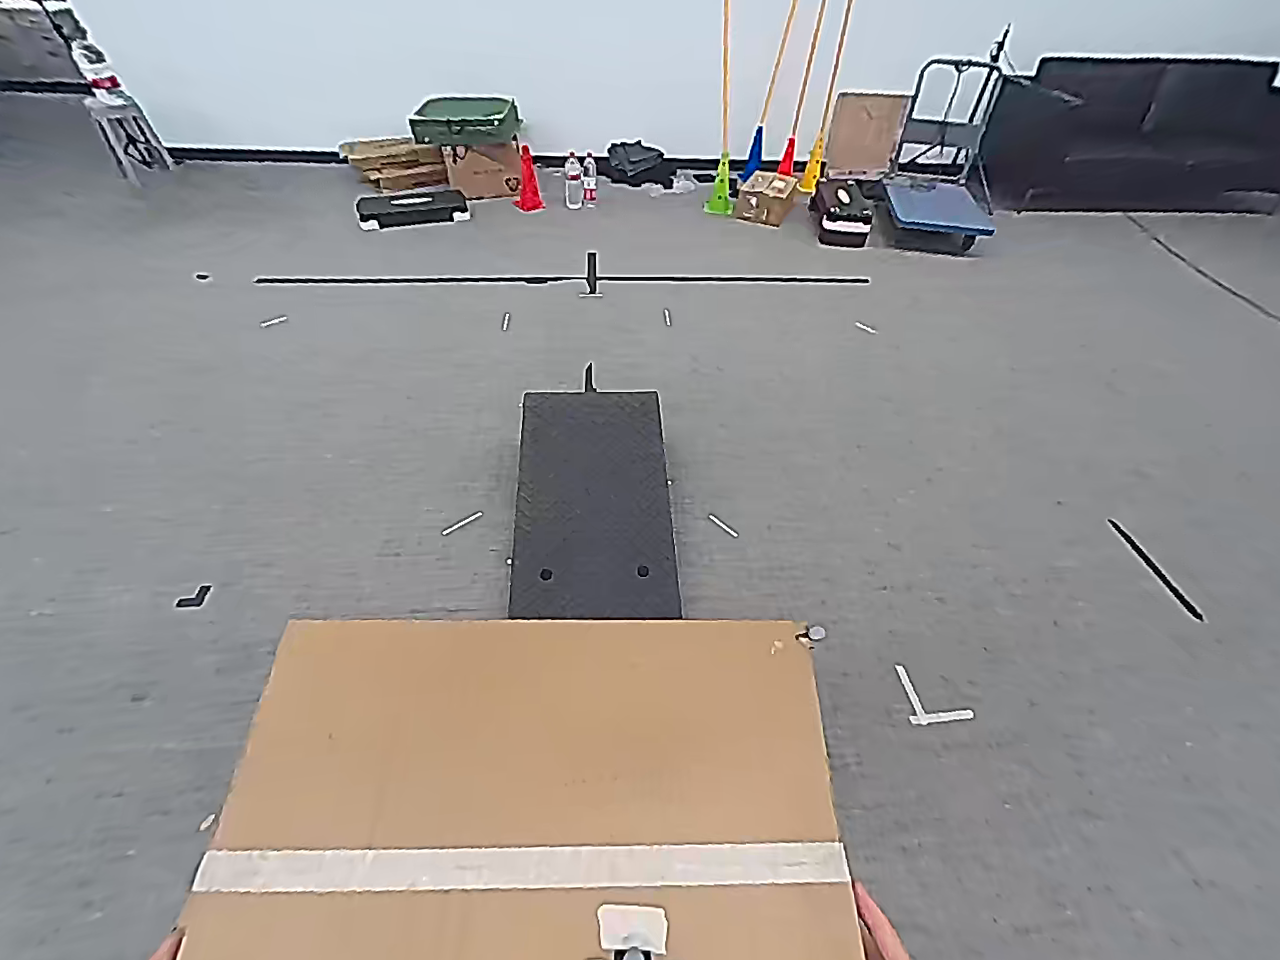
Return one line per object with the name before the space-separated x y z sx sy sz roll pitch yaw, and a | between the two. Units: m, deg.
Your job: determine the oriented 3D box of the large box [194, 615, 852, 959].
large box | -0.073 0.319 0.483 0.408 0.320 0.320 1 60 -1
